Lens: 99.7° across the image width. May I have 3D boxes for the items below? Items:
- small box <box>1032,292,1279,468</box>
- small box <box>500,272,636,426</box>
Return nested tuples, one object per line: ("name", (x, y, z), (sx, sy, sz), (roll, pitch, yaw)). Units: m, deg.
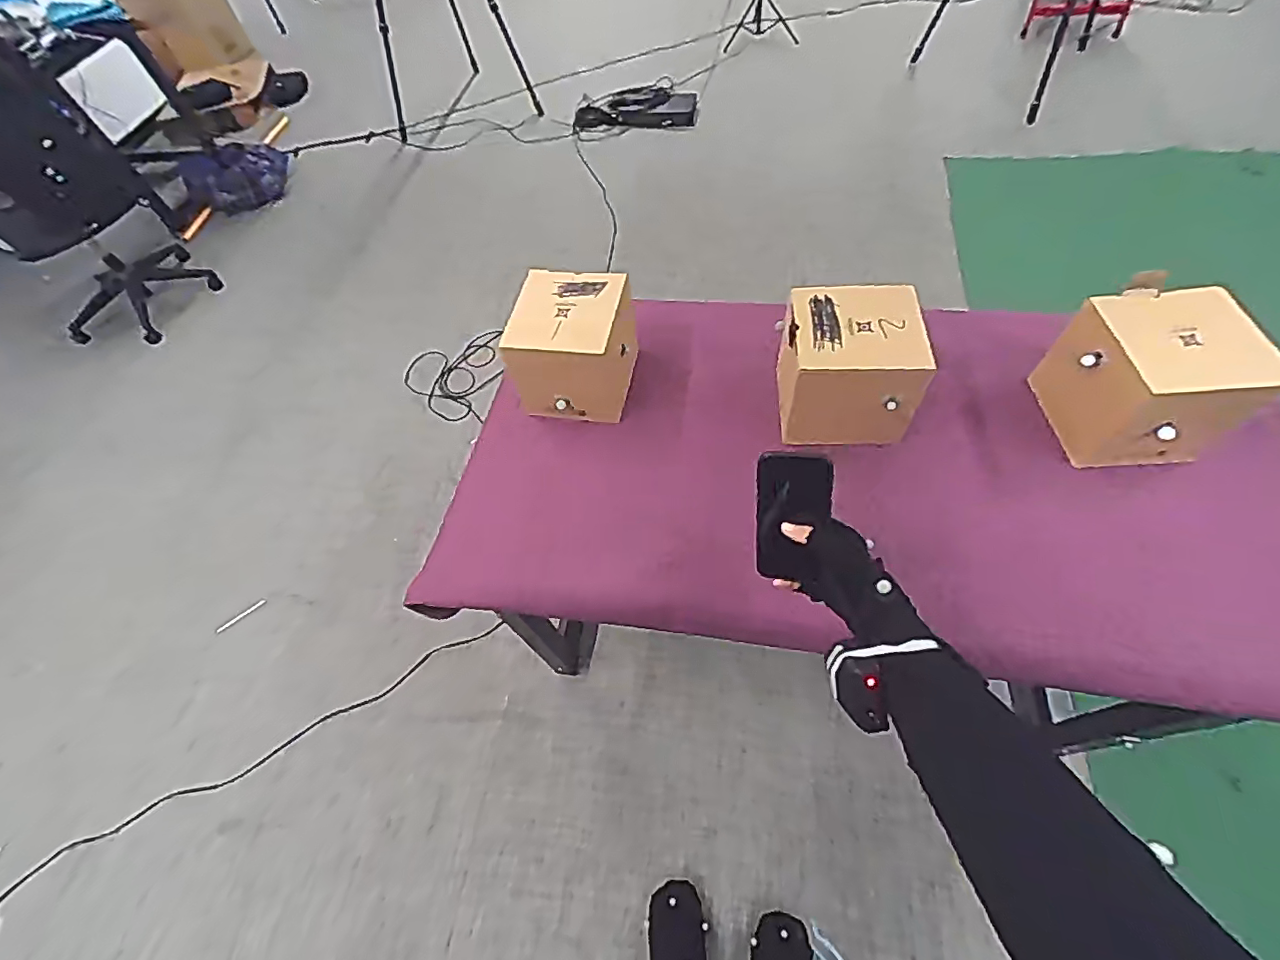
("small box", (0.691, -0.128, 0.742), (0.168, 0.176, 0.179), (-4, 57, 5))
("small box", (-0.105, -0.214, 0.891), (0.168, 0.176, 0.179), (7, 60, 11))
